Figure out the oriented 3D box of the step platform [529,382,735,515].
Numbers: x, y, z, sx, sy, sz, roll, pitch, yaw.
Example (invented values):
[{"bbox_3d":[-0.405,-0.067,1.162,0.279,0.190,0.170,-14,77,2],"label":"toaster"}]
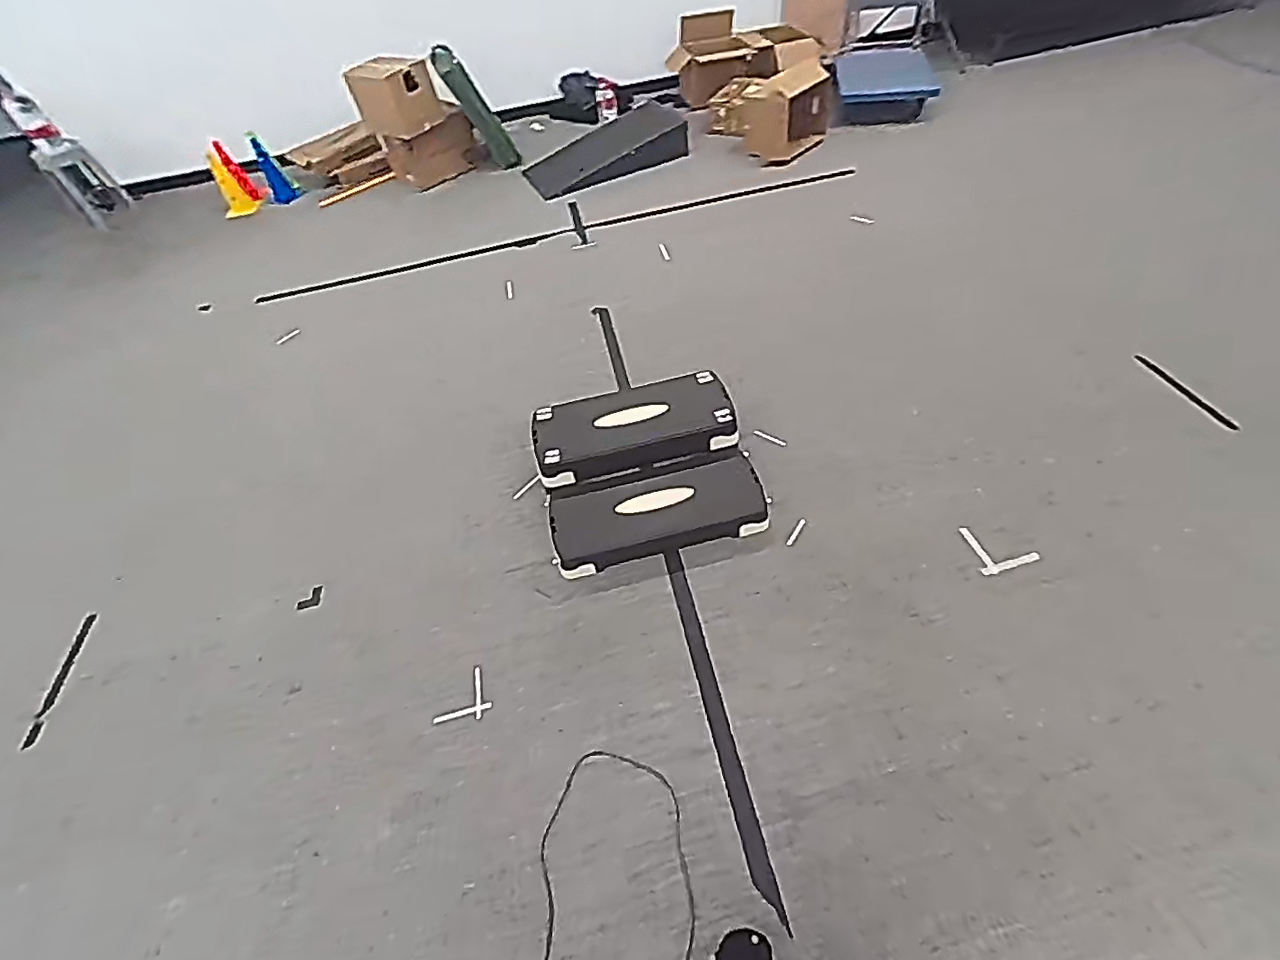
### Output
[{"bbox_3d":[-0.029,-0.115,1.835,0.684,0.204,0.286,-14,52,-5],"label":"step platform"}]
